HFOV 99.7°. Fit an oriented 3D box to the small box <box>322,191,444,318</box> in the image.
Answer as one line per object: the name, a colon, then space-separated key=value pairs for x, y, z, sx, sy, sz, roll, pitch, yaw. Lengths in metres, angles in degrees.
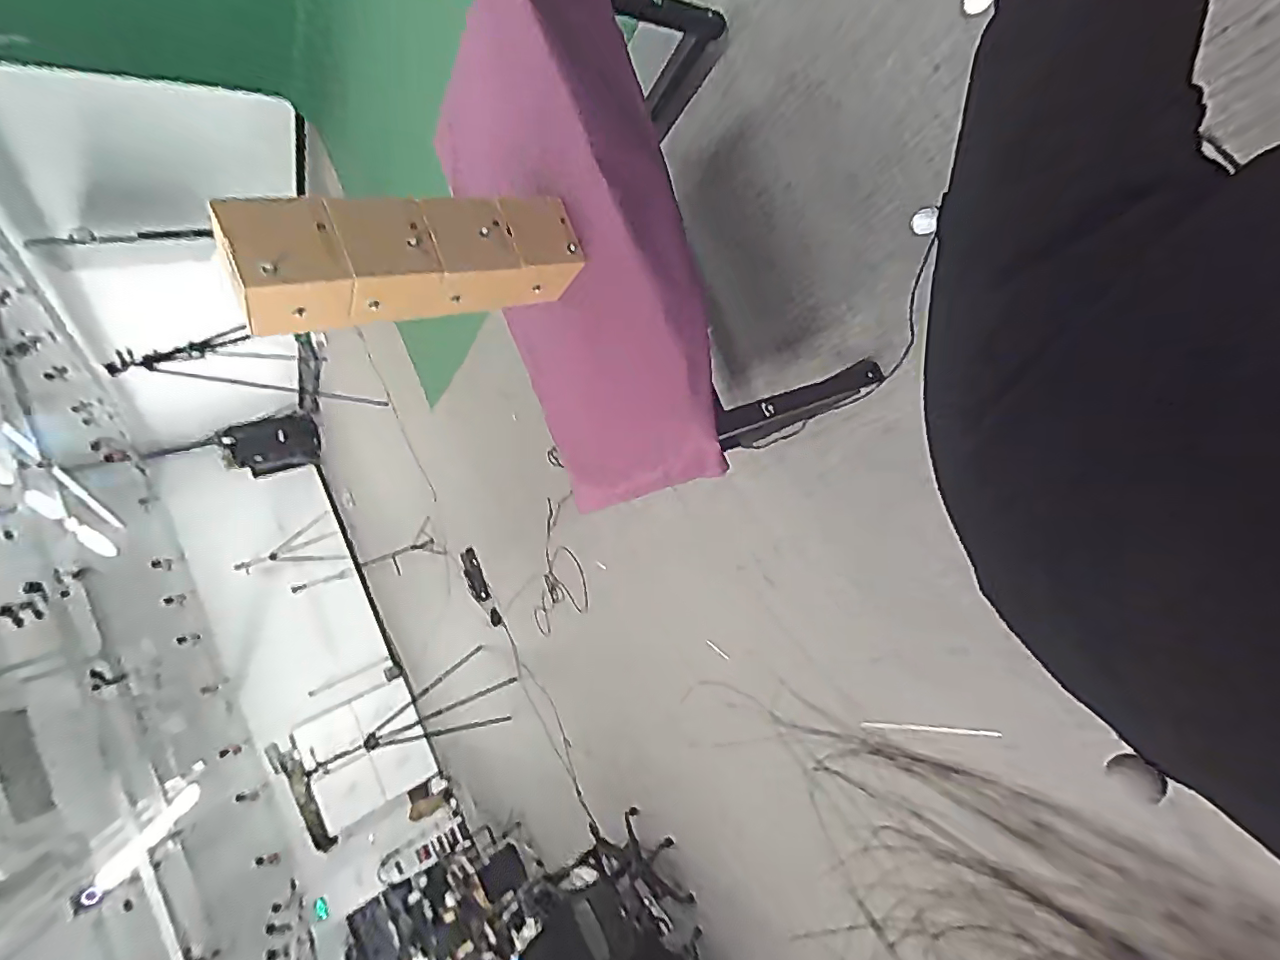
small box: x=-0.509 y=-0.443 z=1.074 sx=0.179 sy=0.176 sz=0.168 roll=-25 pitch=86 yaw=54

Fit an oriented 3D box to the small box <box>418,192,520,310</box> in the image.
small box: x=-0.383 y=-0.489 z=1.166 sx=0.179 sy=0.176 sz=0.168 roll=-25 pitch=86 yaw=54

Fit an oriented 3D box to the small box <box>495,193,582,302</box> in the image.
small box: x=-0.254 y=-0.538 z=1.256 sx=0.179 sy=0.176 sz=0.168 roll=-24 pitch=86 yaw=54
